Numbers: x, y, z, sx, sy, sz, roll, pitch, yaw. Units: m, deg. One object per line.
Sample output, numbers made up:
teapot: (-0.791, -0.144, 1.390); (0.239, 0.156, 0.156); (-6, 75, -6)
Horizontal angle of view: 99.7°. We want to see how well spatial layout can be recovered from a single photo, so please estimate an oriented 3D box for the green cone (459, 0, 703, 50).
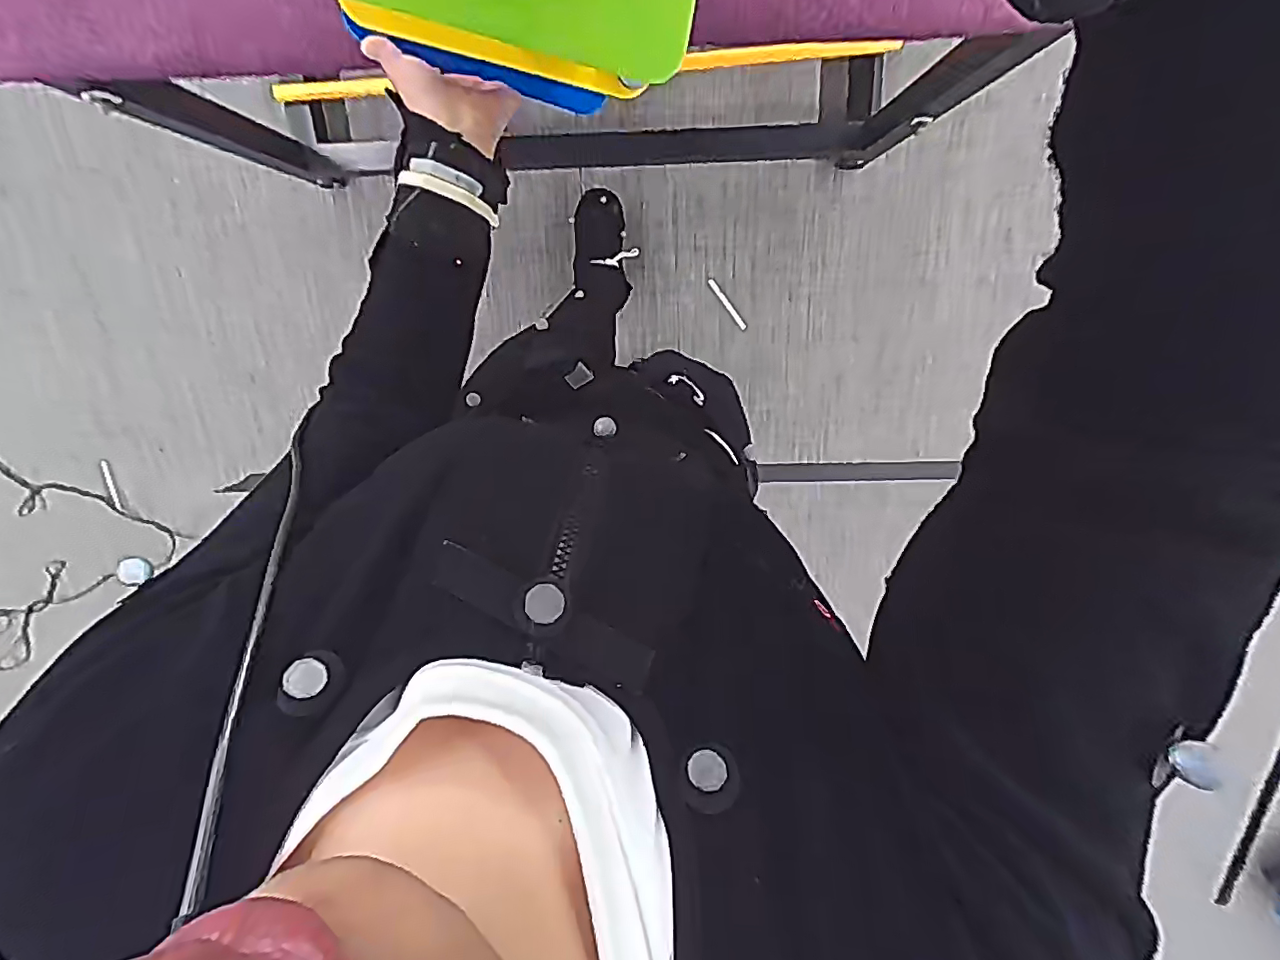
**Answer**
green cone: (-0.023, -0.268, 0.083); (0.200, 0.368, 0.202); (6, 110, -12)
